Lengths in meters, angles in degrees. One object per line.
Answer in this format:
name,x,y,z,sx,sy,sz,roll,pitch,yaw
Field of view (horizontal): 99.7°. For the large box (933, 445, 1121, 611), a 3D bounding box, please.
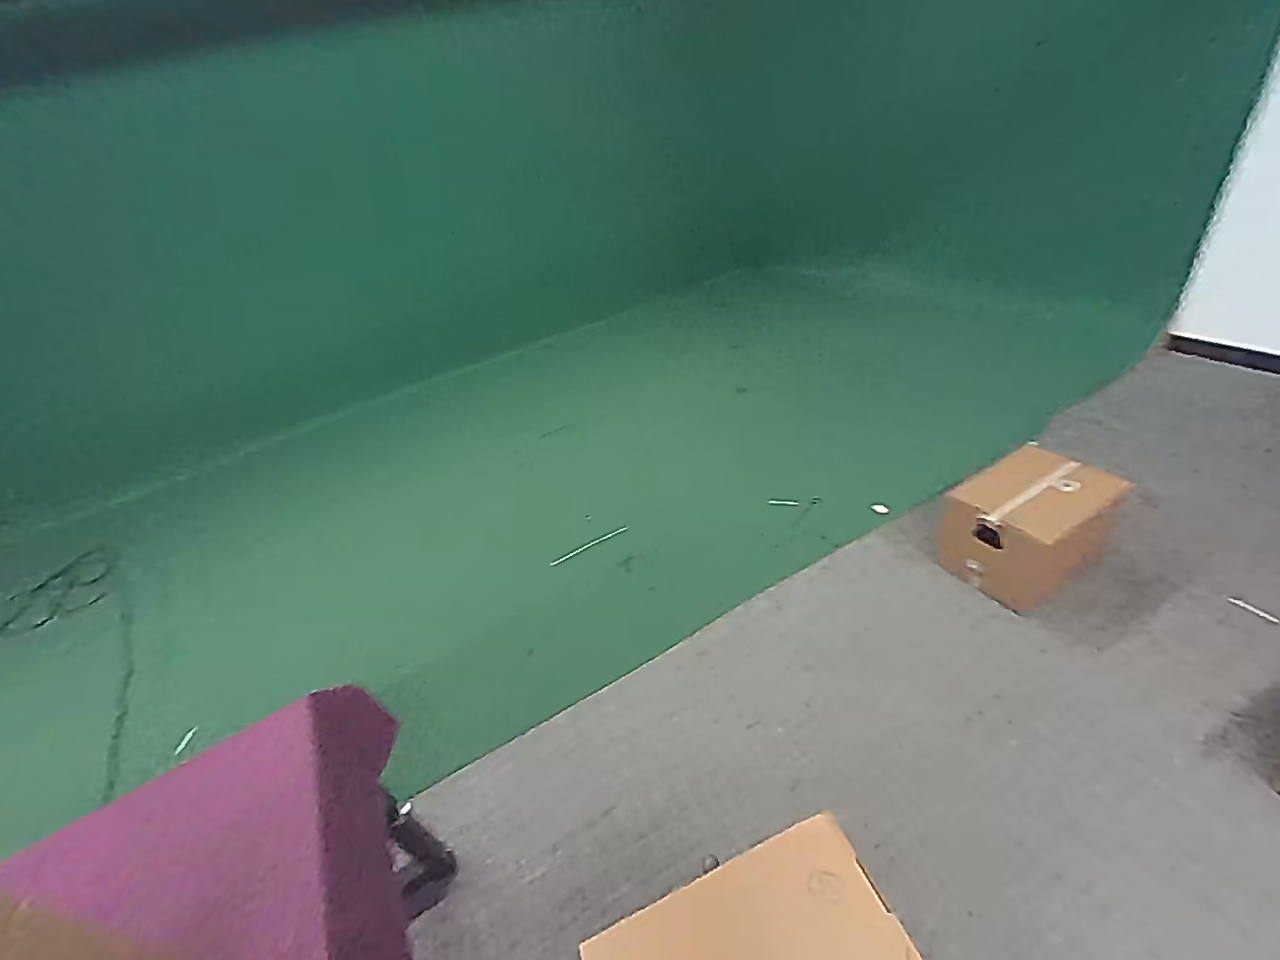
large box,1.234,0.147,1.759,0.408,0.320,0.320,-25,37,-18
